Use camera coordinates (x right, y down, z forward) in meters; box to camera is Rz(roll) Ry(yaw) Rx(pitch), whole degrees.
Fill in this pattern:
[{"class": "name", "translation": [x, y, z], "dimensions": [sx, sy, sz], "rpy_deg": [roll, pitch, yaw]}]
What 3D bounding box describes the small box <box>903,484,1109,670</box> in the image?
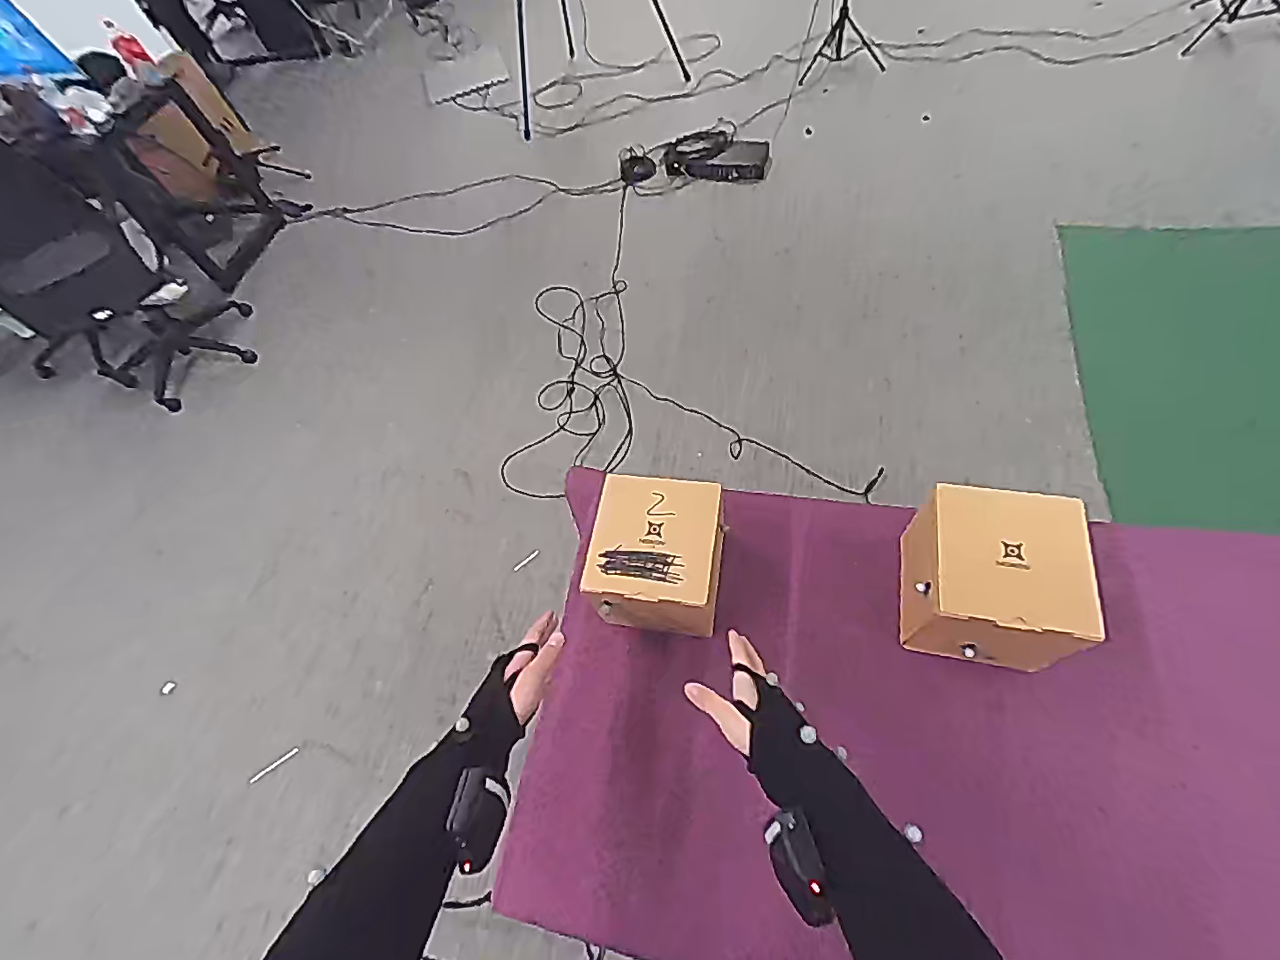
[{"class": "small box", "translation": [0.450, 0.129, 0.699], "dimensions": [0.168, 0.176, 0.179], "rpy_deg": [8, 63, 13]}]
